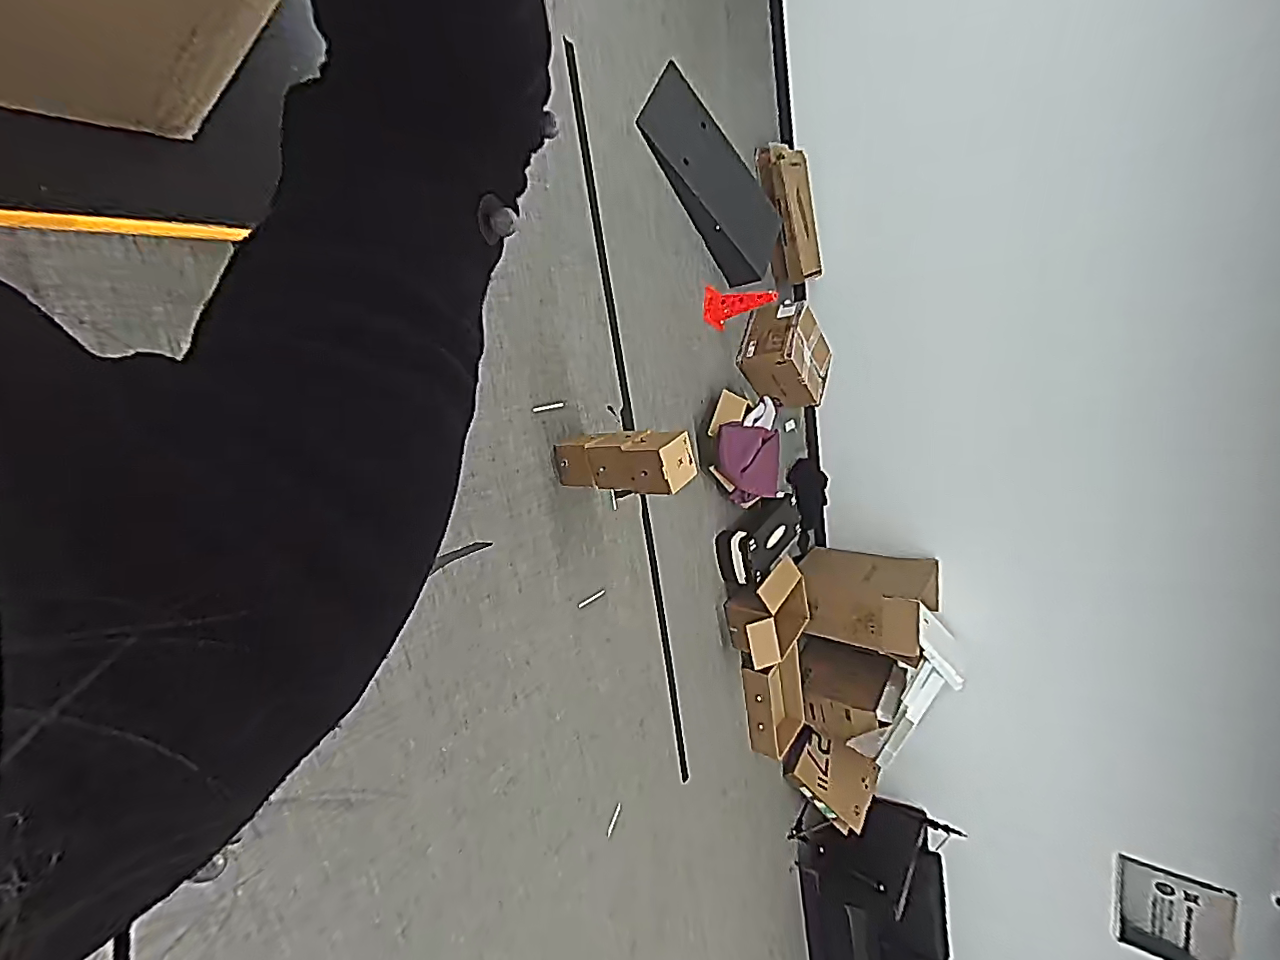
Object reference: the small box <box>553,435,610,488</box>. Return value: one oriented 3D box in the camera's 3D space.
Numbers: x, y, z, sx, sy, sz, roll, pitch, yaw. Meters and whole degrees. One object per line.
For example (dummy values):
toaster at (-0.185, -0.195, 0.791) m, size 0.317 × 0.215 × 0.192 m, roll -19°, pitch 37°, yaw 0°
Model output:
small box at (-0.204, -0.074, 2.065) m, size 0.179 × 0.176 × 0.168 m, roll -27°, pitch 111°, yaw -46°

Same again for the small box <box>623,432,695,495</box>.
small box at (0.059, -0.057, 1.868) m, size 0.179 × 0.176 × 0.168 m, roll -36°, pitch 117°, yaw -44°

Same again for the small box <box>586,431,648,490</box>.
small box at (-0.068, -0.072, 1.971) m, size 0.179 × 0.176 × 0.168 m, roll -34°, pitch 115°, yaw -45°
